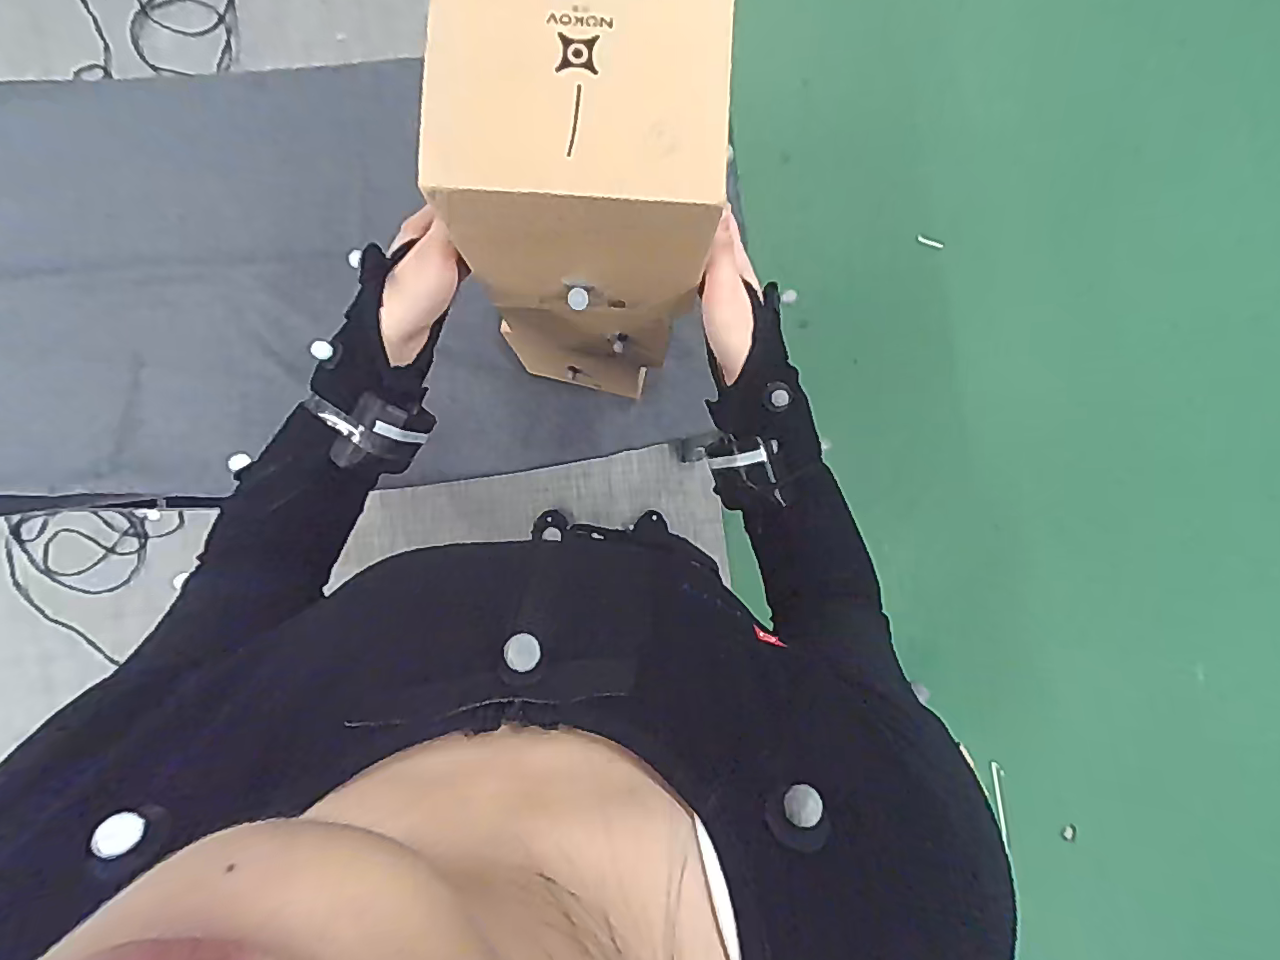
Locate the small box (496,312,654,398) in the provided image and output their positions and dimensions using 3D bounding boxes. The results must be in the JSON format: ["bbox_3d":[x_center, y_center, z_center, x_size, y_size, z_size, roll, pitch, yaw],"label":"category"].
[{"bbox_3d":[-0.065,-0.219,0.694,0.168,0.176,0.179,14,85,1],"label":"small box"}]

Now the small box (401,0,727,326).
[{"bbox_3d":[-0.039,-0.222,0.365,0.168,0.176,0.179,3,87,-1],"label":"small box"}]
